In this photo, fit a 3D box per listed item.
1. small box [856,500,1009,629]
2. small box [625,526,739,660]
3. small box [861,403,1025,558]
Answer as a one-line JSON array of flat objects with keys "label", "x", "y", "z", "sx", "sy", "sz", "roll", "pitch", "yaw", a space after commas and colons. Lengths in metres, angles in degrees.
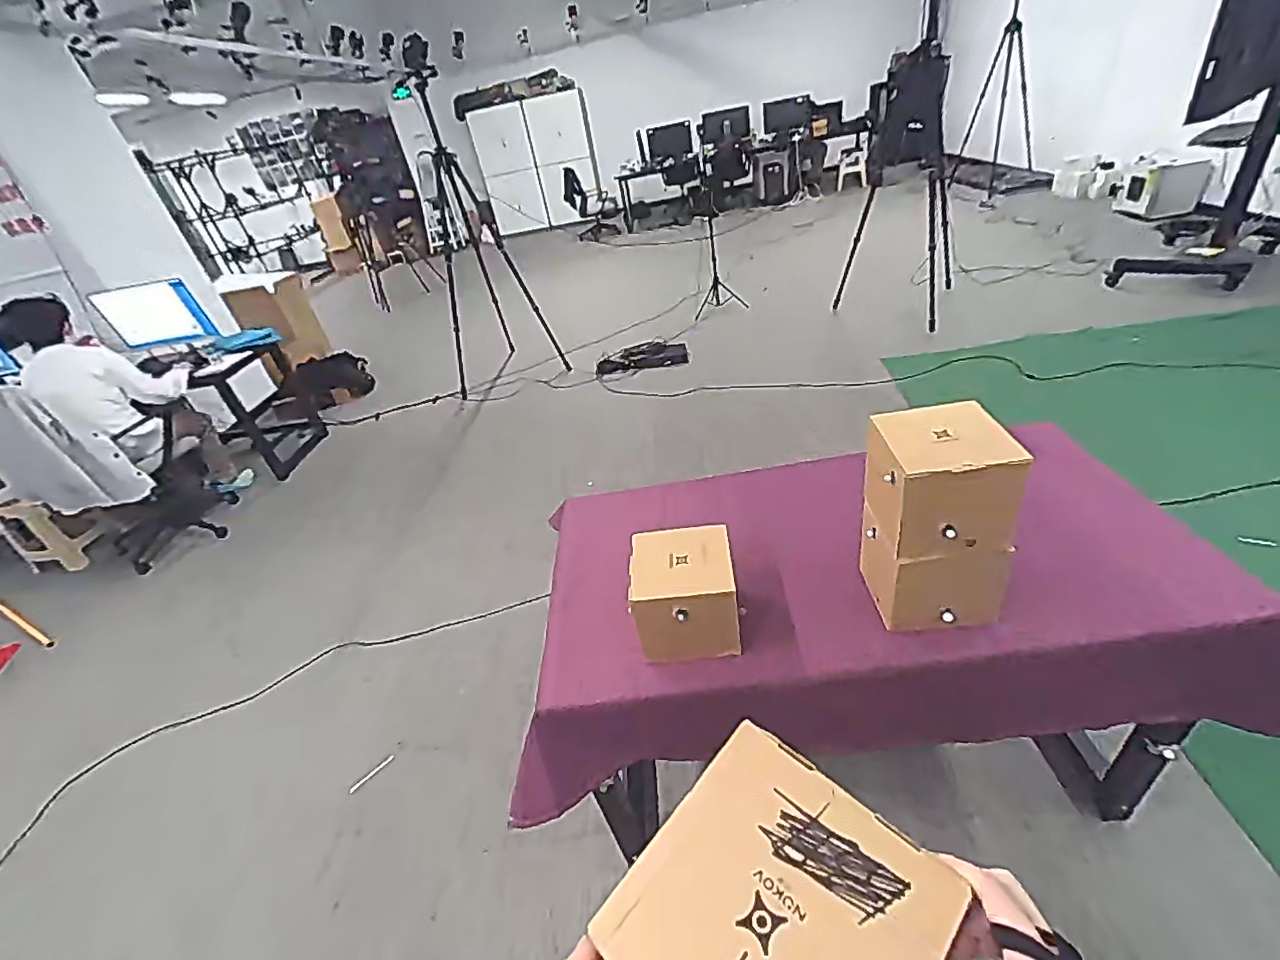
[{"label": "small box", "x": 0.491, "y": 0.138, "z": 0.939, "sx": 0.179, "sy": 0.176, "sz": 0.168, "roll": -8, "pitch": 34, "yaw": 6}, {"label": "small box", "x": 0.078, "y": 0.206, "z": 0.975, "sx": 0.179, "sy": 0.176, "sz": 0.168, "roll": -7, "pitch": 35, "yaw": 7}, {"label": "small box", "x": 0.460, "y": 0.000, "z": 0.857, "sx": 0.168, "sy": 0.176, "sz": 0.179, "roll": -8, "pitch": 36, "yaw": 8}]
